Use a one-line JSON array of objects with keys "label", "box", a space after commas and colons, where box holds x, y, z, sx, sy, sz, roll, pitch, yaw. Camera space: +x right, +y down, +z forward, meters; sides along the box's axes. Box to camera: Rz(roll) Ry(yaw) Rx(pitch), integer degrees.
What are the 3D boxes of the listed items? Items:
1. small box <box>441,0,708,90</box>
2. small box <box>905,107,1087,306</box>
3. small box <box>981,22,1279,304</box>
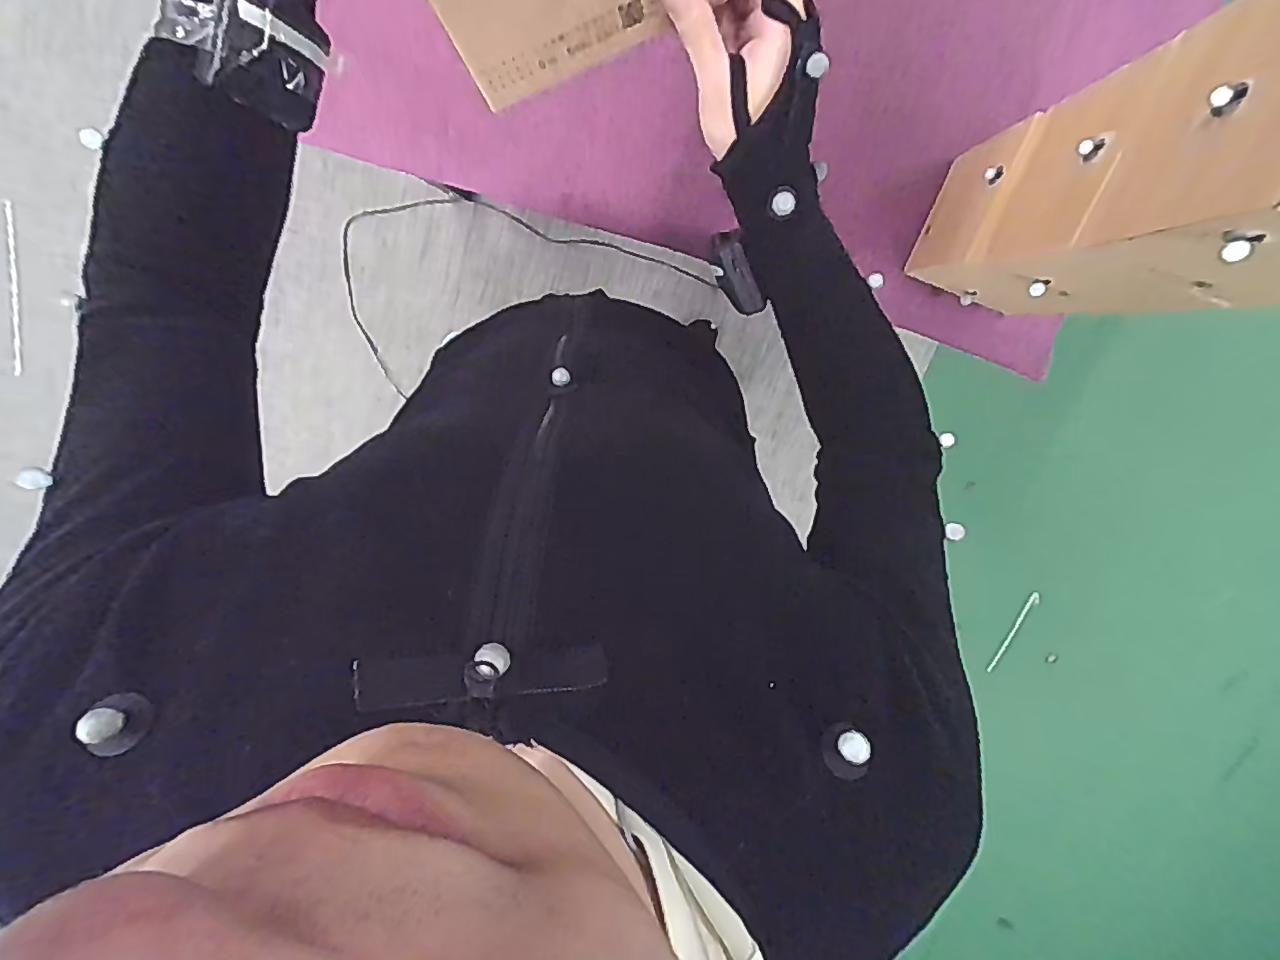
[{"label": "small box", "box": [-0.062, -0.367, 0.285, 0.168, 0.176, 0.179, -19, 76, 8]}, {"label": "small box", "box": [0.491, -0.336, 0.702, 0.179, 0.176, 0.168, 19, 105, -6]}, {"label": "small box", "box": [0.493, -0.292, 0.545, 0.168, 0.176, 0.179, 20, 106, -4]}]
